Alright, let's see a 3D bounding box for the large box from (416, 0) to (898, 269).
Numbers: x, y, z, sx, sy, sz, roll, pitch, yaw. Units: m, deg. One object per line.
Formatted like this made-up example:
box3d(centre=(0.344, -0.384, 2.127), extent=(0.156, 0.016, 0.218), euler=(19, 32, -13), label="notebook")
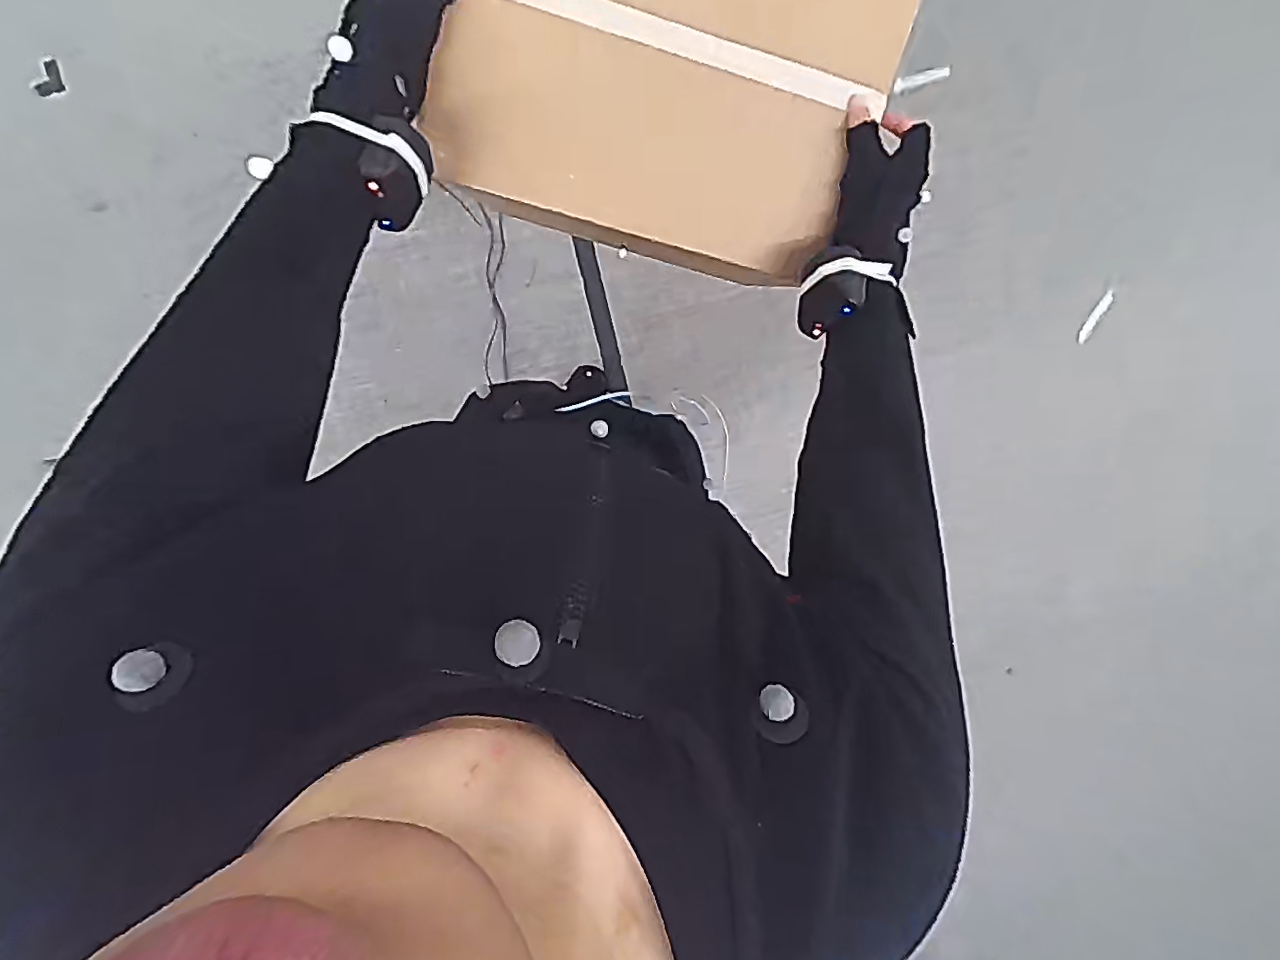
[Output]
box3d(centre=(0.013, -0.442, 0.615), extent=(0.408, 0.320, 0.320), euler=(12, 109, -7), label="large box")
